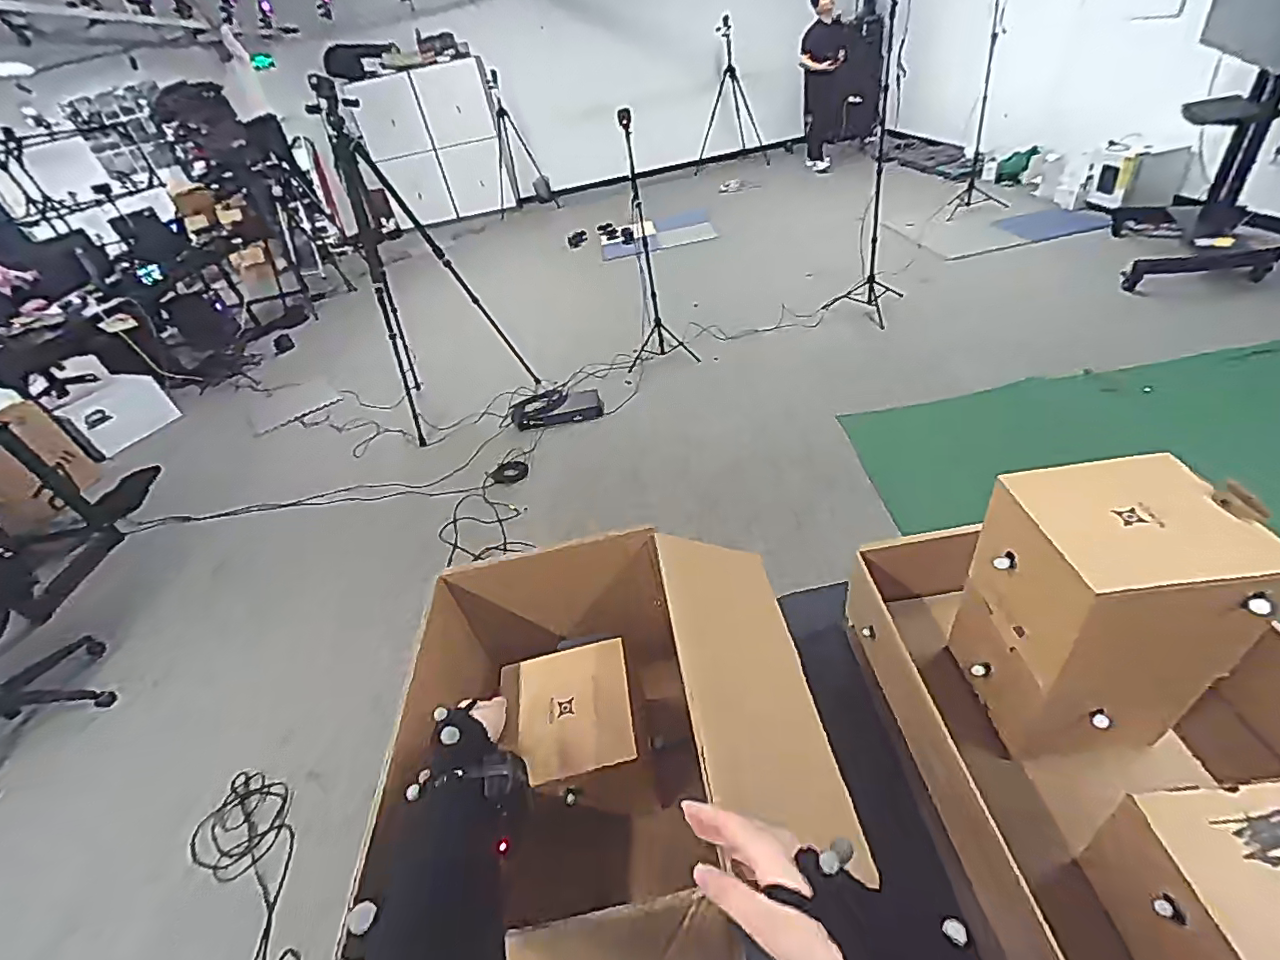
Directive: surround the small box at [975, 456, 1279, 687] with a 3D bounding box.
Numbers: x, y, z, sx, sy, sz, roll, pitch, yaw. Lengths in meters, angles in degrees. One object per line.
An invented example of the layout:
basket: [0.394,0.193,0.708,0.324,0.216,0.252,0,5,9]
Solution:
small box: [0.485,0.100,0.571,0.179,0.176,0.168,-8,39,5]
